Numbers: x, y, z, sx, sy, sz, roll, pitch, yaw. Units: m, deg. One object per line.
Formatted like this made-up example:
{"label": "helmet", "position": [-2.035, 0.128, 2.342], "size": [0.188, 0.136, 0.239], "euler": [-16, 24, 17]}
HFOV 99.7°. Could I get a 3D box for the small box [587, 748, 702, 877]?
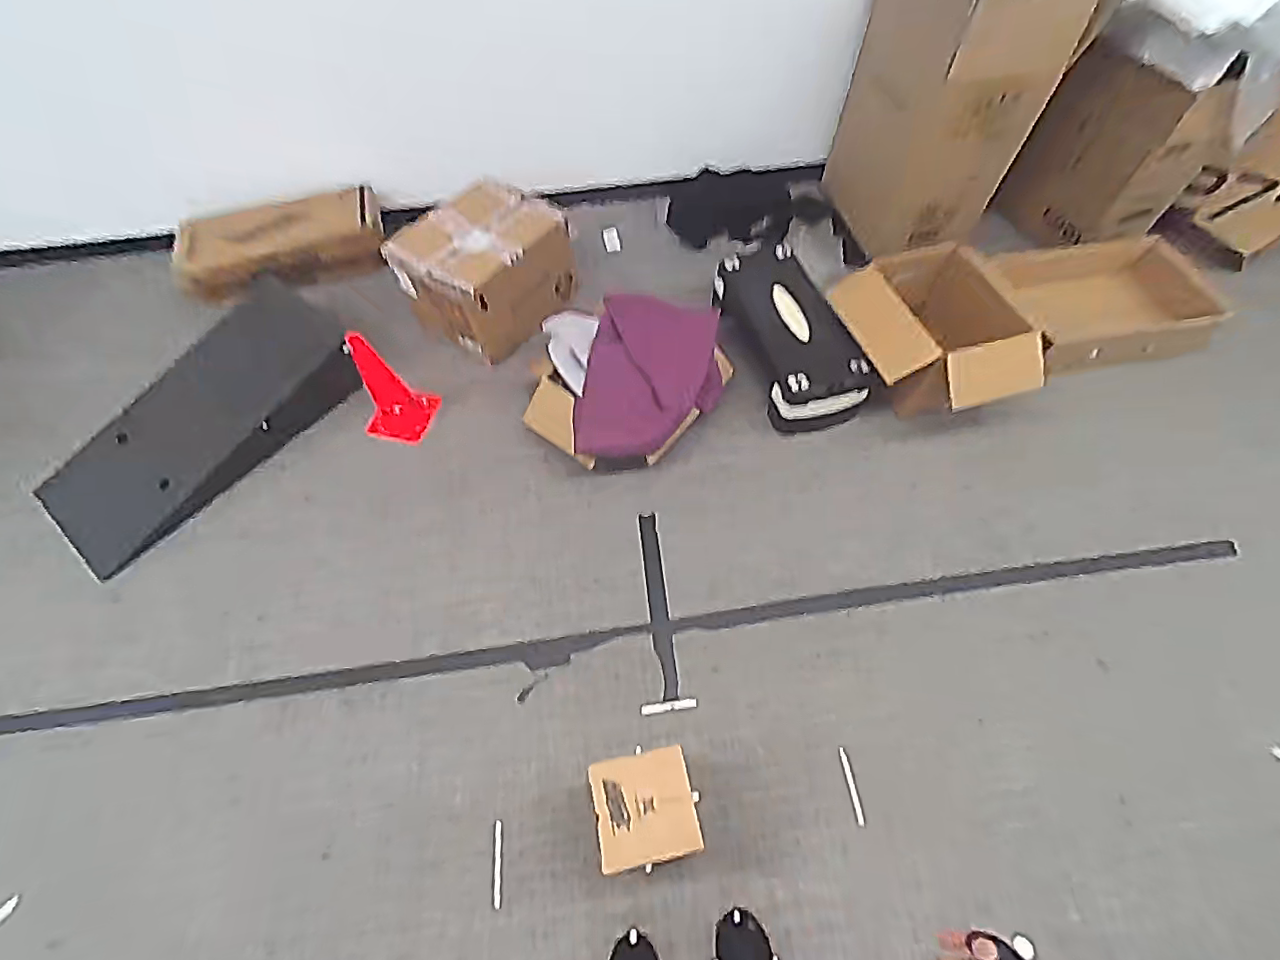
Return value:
{"label": "small box", "position": [0.010, 0.612, 1.001], "size": [0.179, 0.176, 0.168], "euler": [-11, 59, -4]}
